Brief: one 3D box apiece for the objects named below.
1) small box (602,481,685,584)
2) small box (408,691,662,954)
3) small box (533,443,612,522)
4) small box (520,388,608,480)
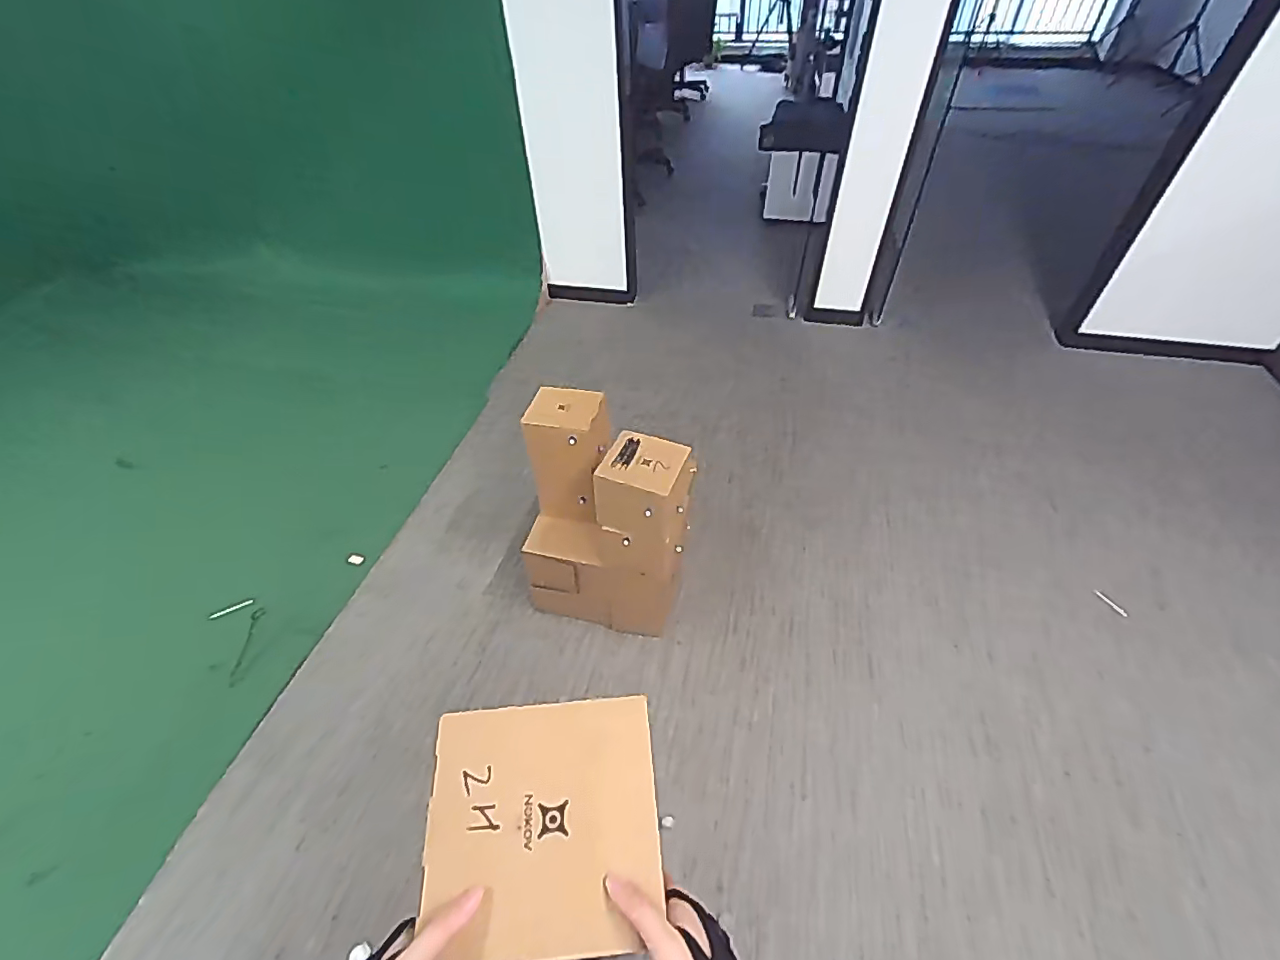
[{"bbox_3d":[0.010,0.134,1.383,0.168,0.176,0.179,12,46,13],"label":"small box"},{"bbox_3d":[-0.076,0.297,0.479,0.179,0.176,0.168,-4,54,-2],"label":"small box"},{"bbox_3d":[-0.182,0.001,1.524,0.179,0.176,0.168,7,44,9],"label":"small box"},{"bbox_3d":[-0.191,-0.119,1.414,0.179,0.176,0.168,8,44,9],"label":"small box"}]
